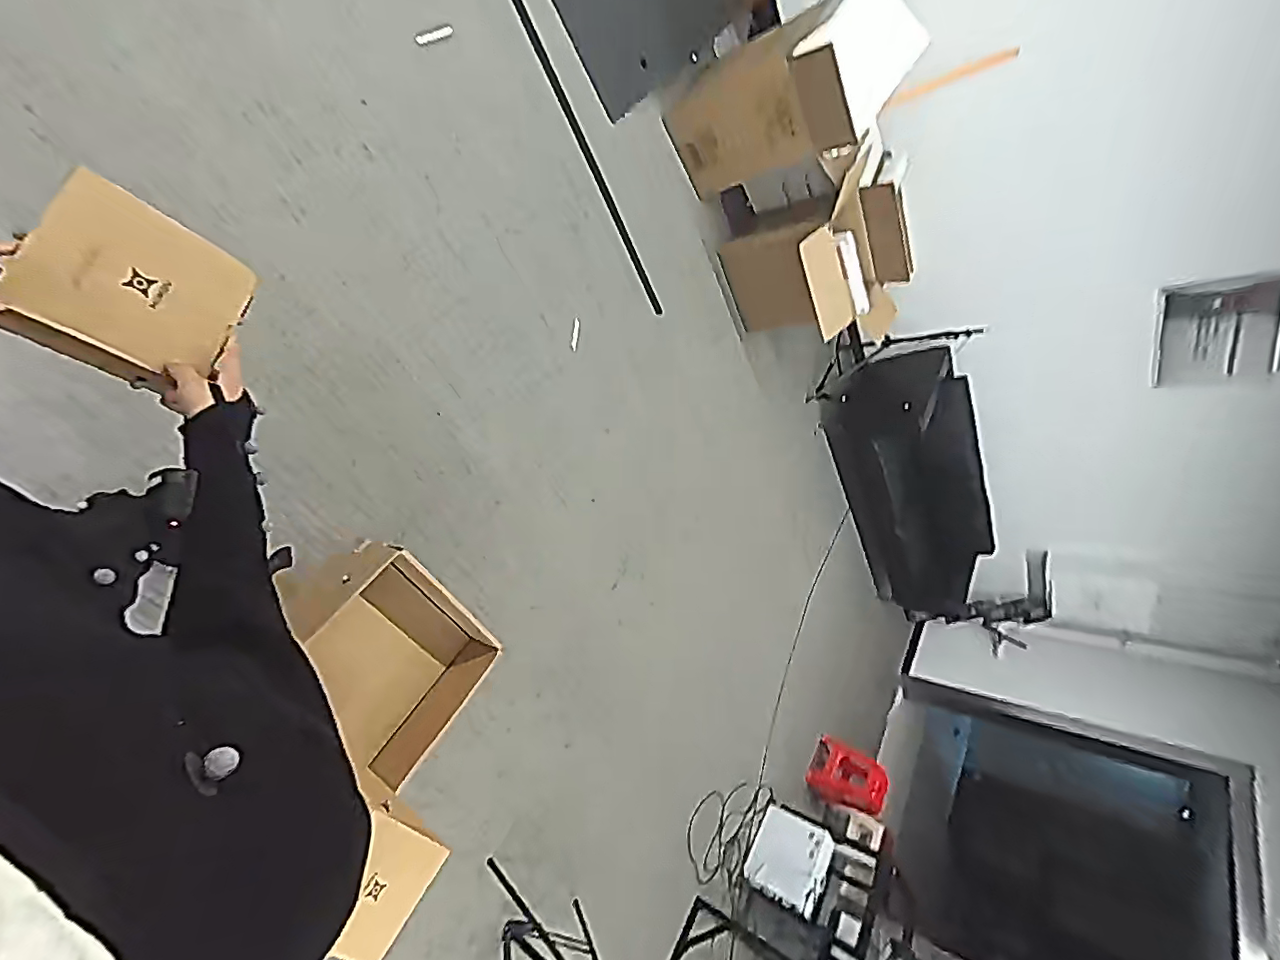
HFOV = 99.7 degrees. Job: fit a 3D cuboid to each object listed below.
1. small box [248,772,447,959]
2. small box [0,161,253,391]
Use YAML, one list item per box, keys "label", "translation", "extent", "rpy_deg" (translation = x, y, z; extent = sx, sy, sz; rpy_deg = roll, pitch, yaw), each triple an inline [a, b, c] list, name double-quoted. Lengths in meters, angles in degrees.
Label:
- label: "small box"
  translation: [-0.440, 0.578, 0.819]
  extent: [0.168, 0.176, 0.179]
  rpy_deg: [-55, 129, -31]
- label: "small box"
  translation: [-0.601, -0.215, 0.622]
  extent: [0.179, 0.176, 0.168]
  rpy_deg: [34, 67, -47]
